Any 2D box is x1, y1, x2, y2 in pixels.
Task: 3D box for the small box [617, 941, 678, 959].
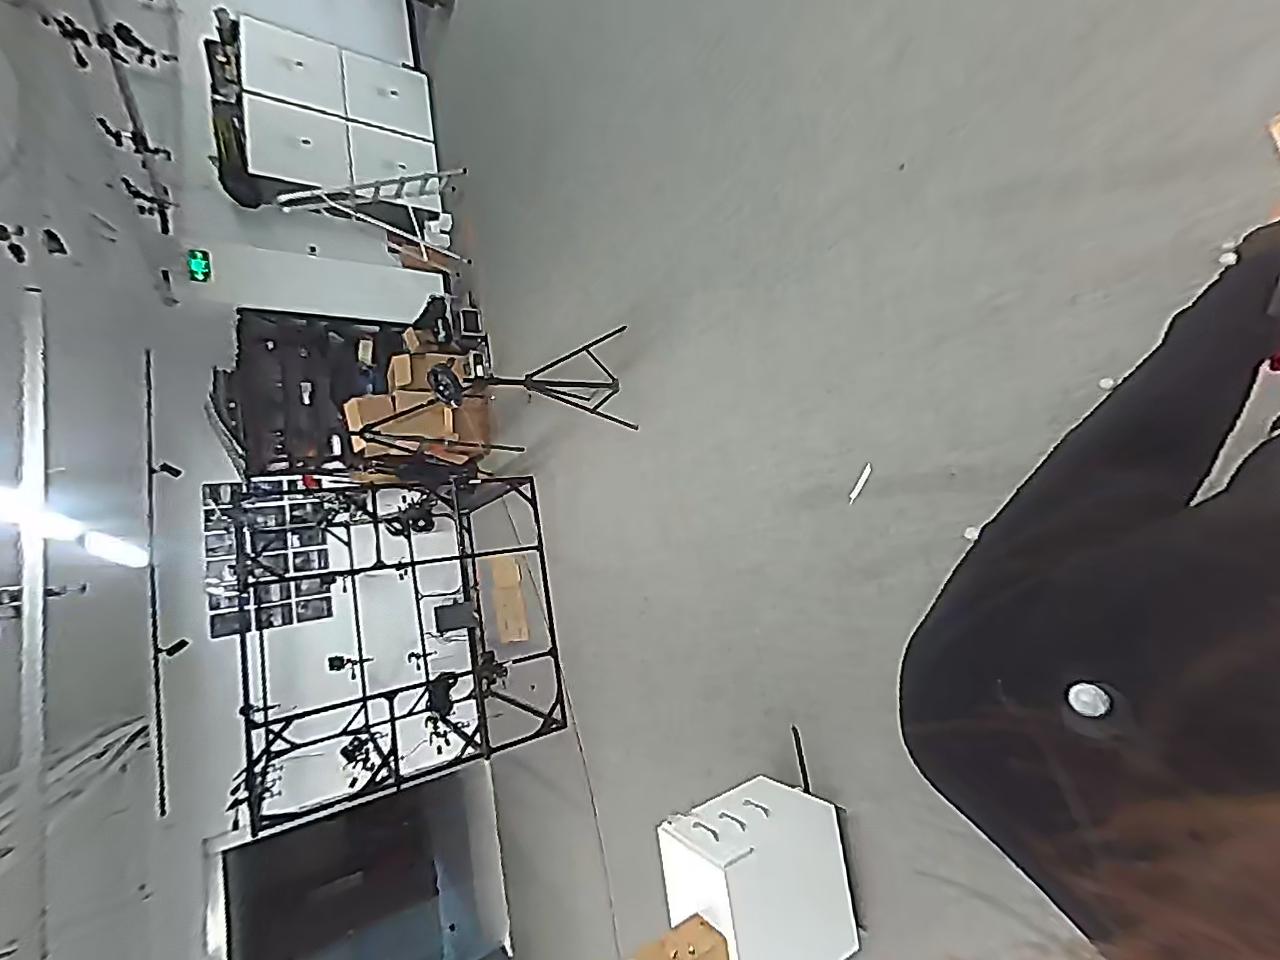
[{"bbox_3d":[0.042,1.603,1.693,0.179,0.176,0.168,-14,83,58],"label":"small box"}]
